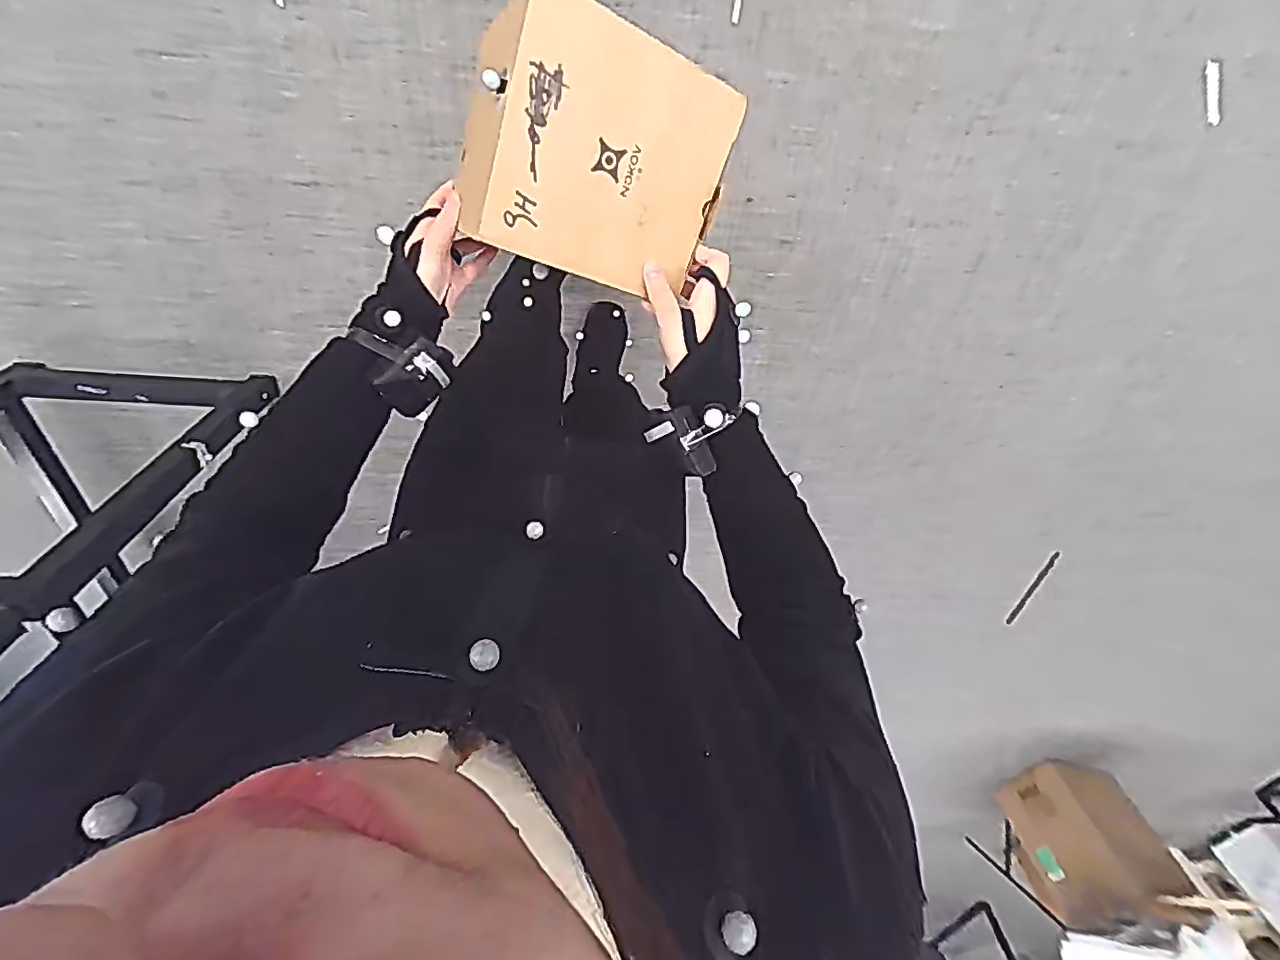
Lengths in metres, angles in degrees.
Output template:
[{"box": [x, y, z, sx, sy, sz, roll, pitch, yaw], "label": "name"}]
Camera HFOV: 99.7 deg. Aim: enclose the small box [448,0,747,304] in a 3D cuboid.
[{"box": [-0.049, -0.267, 0.460, 0.179, 0.176, 0.168, 8, 110, -31], "label": "small box"}]
